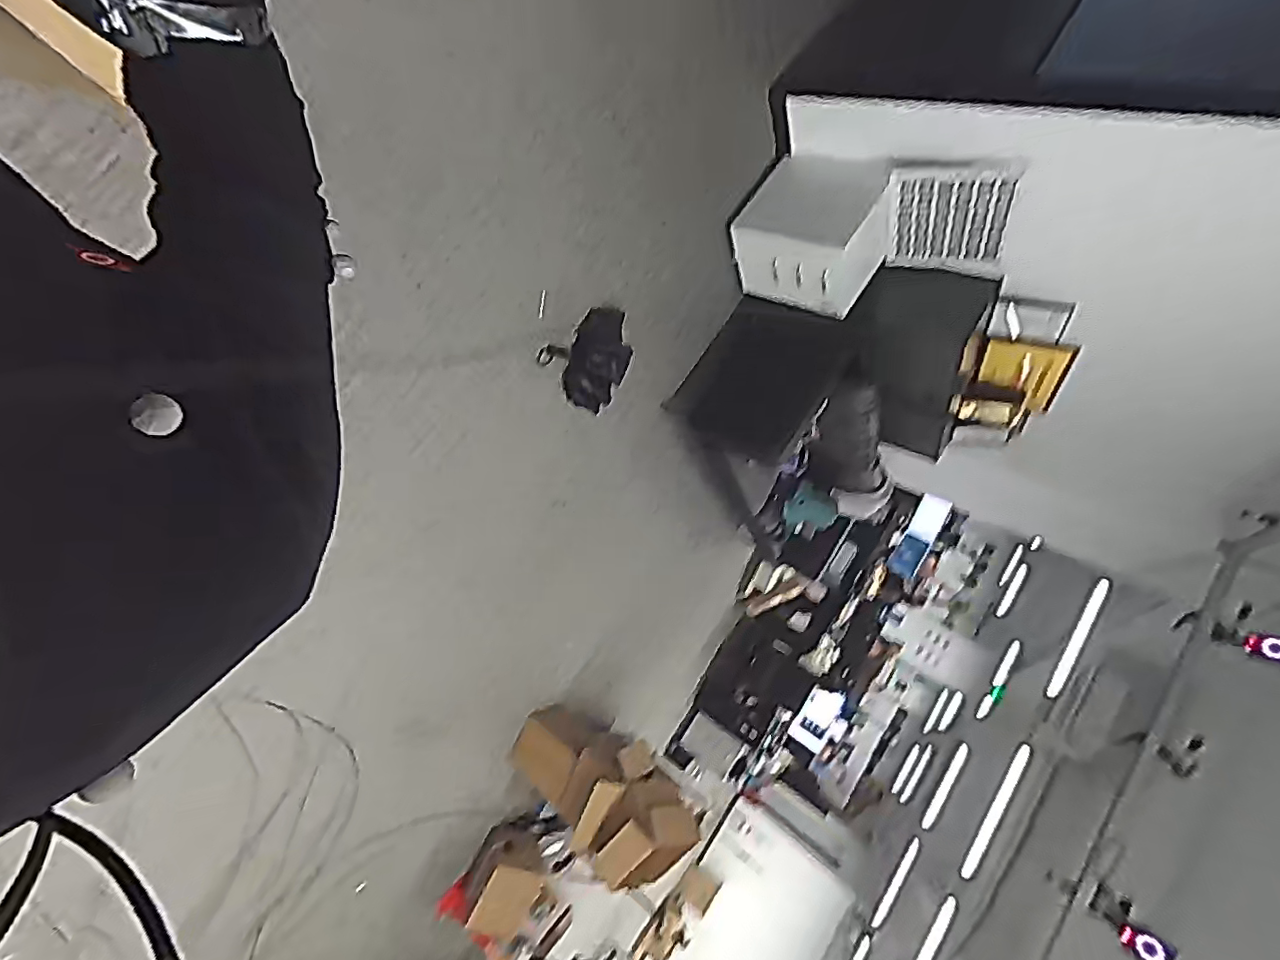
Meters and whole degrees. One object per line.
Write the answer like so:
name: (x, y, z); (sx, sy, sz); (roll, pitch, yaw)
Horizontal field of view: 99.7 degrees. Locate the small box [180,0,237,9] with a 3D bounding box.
small box: (-0.416, -0.546, 0.450); (0.168, 0.176, 0.179); (-59, 147, -1)
